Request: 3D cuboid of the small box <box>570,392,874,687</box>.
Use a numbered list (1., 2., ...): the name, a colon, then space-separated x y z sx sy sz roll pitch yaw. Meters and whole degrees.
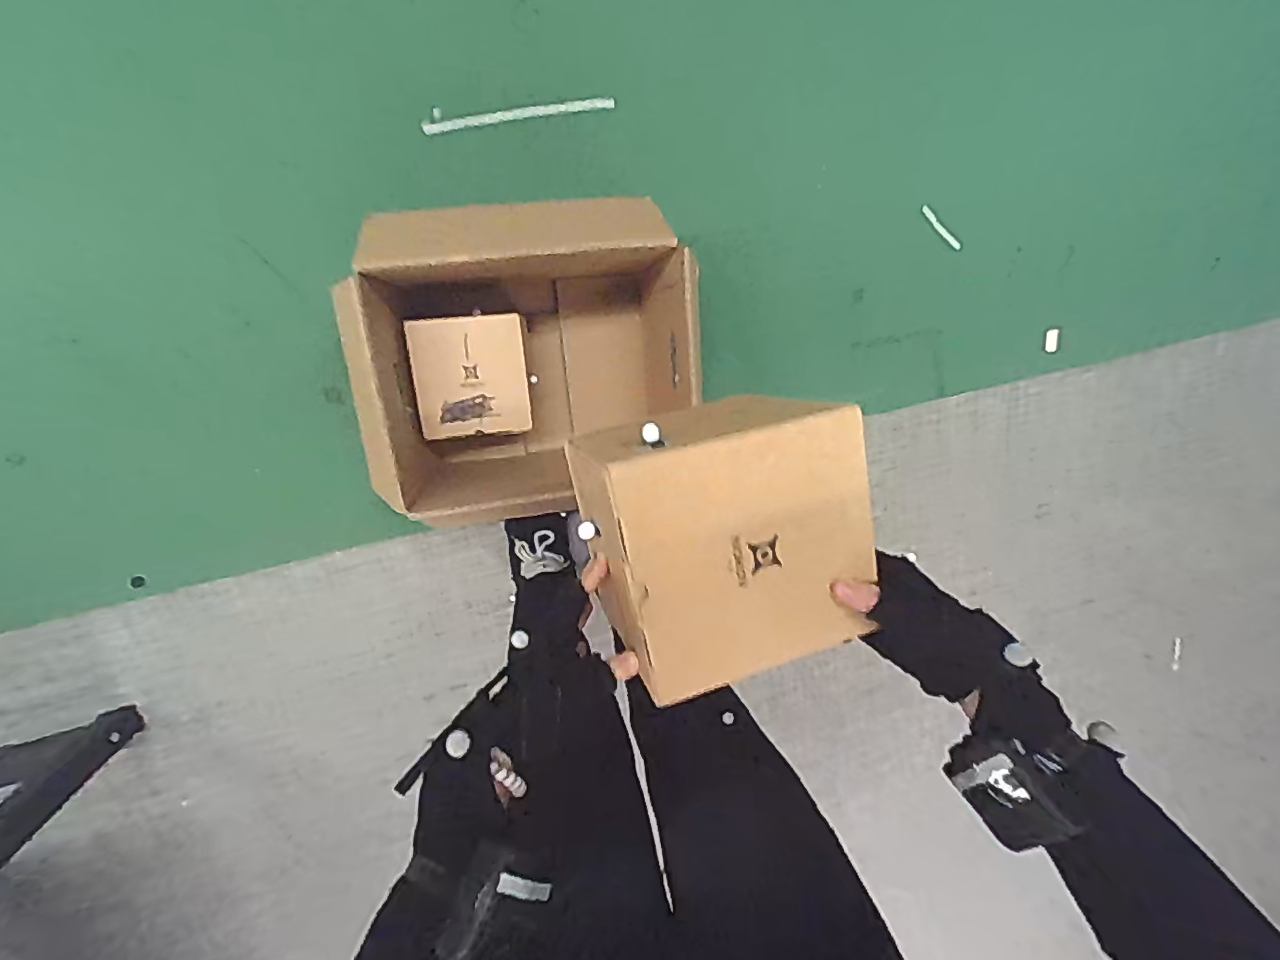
1. small box: 0.054 0.027 0.436 0.179 0.176 0.168 -15 103 -12
